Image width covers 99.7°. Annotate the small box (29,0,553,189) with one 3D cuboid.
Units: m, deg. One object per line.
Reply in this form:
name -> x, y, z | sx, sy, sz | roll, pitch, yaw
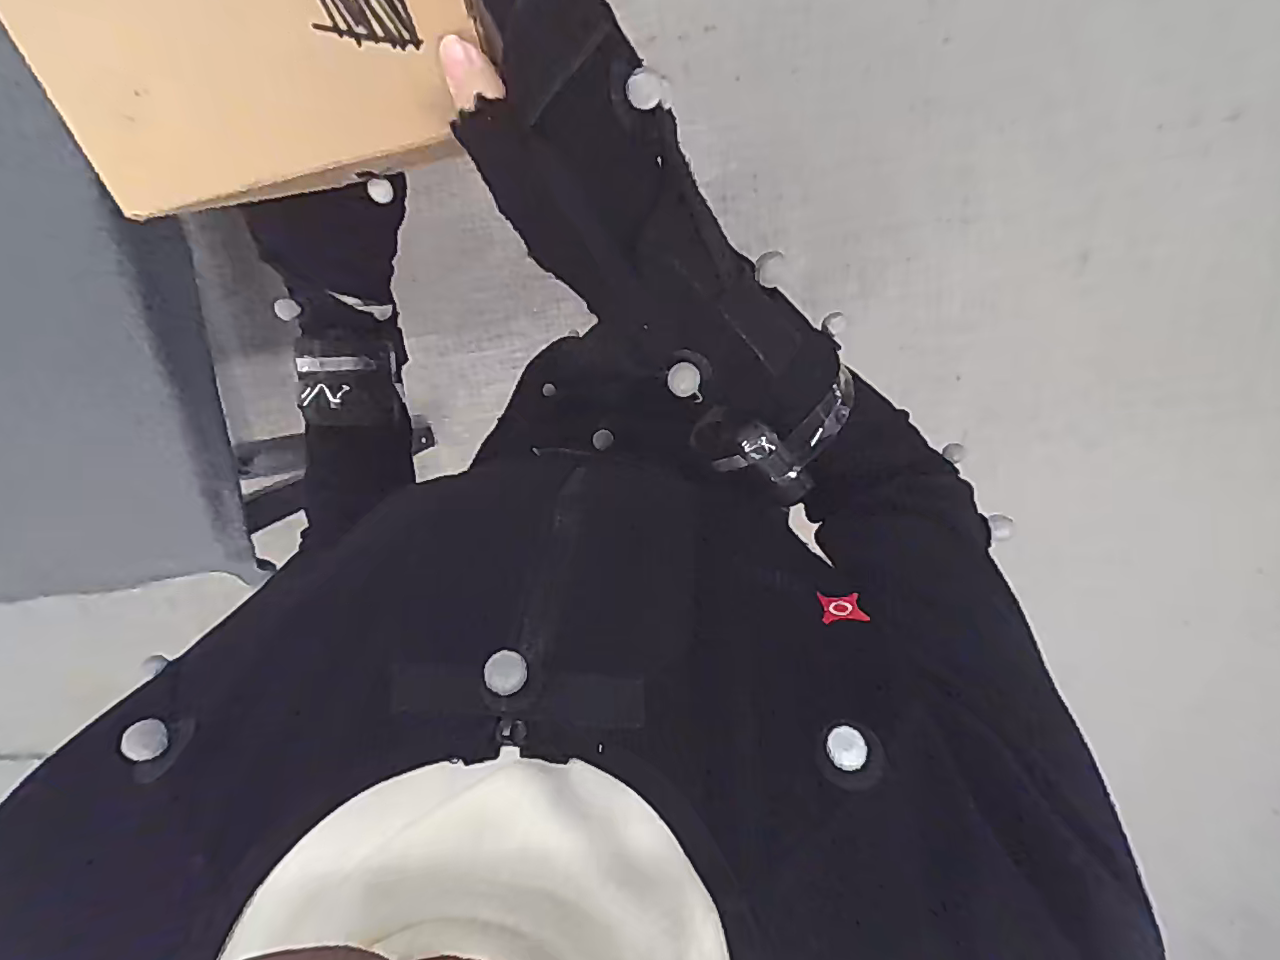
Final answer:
small box -> -0.150, -0.252, 0.255 | 0.179, 0.176, 0.168 | -8, 121, 10
